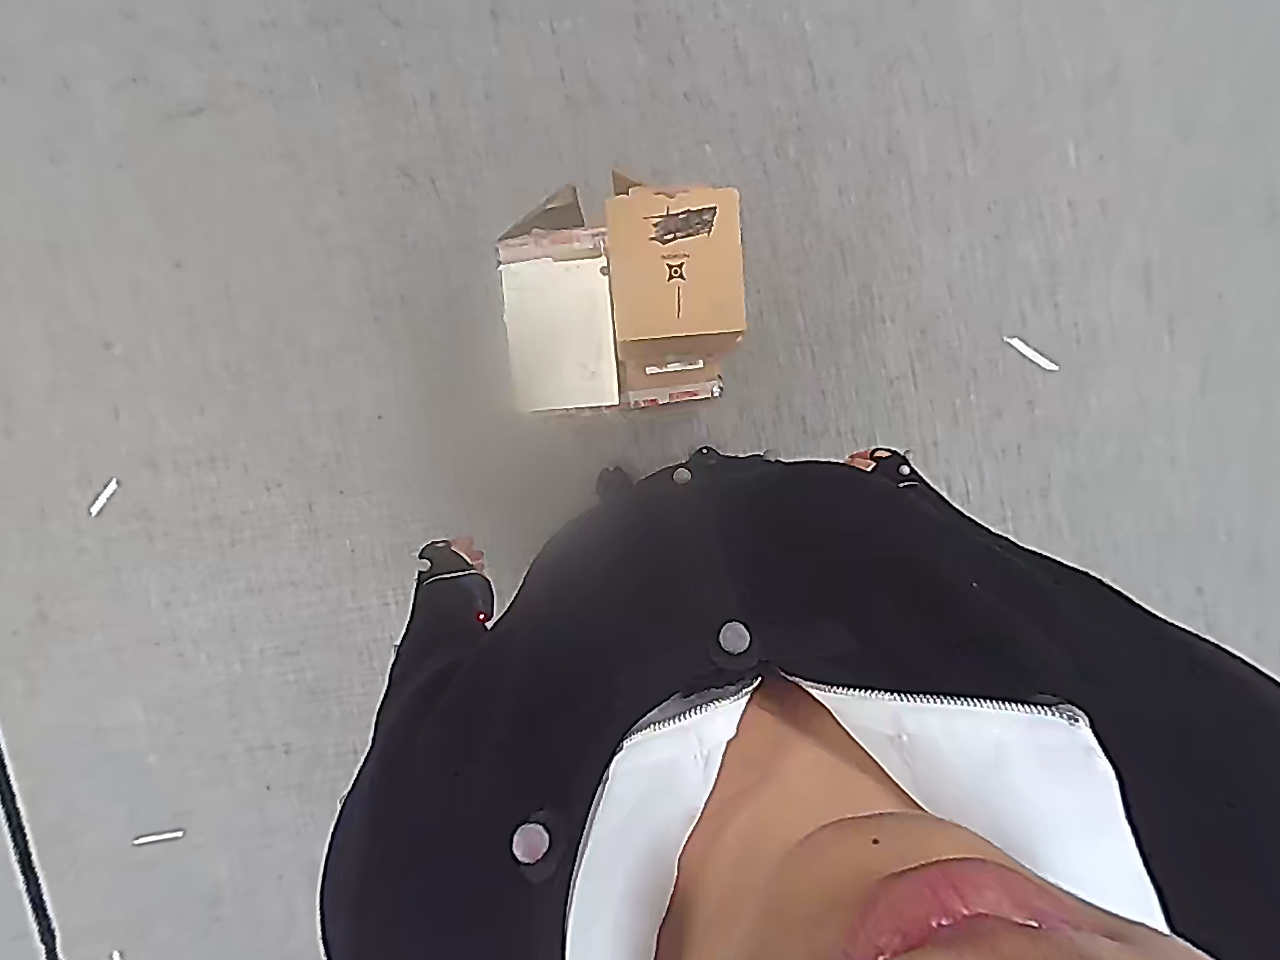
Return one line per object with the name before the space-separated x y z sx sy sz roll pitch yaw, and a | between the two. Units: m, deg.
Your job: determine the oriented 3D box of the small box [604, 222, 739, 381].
small box | 0.037 -0.240 0.764 0.168 0.176 0.179 -5 96 -1
